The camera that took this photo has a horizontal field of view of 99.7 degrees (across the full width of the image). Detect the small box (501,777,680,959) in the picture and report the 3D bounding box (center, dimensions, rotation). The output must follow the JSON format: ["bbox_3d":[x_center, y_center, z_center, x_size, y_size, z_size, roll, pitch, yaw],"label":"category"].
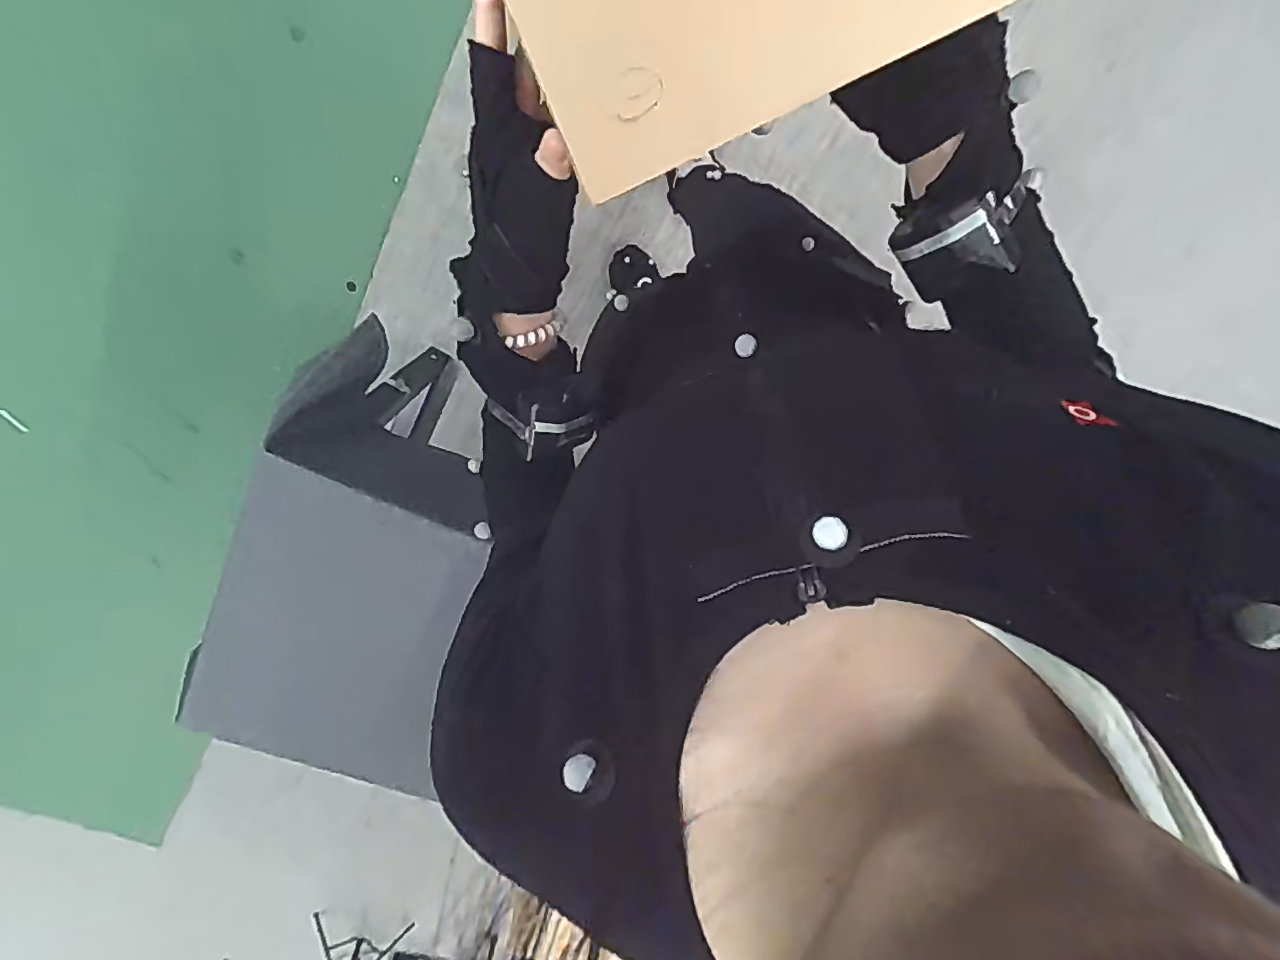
[{"bbox_3d":[-0.067,0.550,0.752,0.179,0.176,0.168,26,113,-14],"label":"small box"}]
